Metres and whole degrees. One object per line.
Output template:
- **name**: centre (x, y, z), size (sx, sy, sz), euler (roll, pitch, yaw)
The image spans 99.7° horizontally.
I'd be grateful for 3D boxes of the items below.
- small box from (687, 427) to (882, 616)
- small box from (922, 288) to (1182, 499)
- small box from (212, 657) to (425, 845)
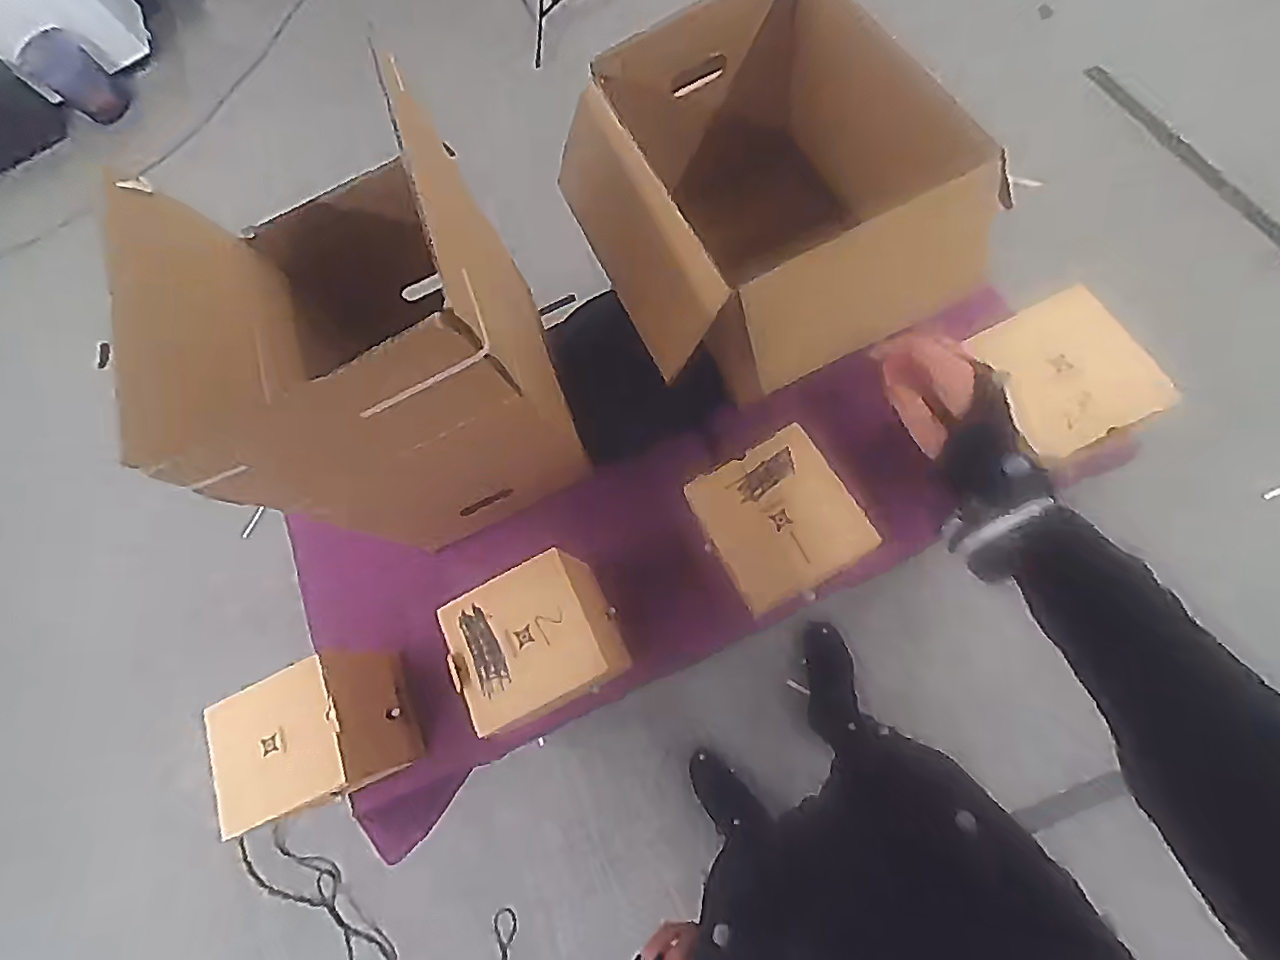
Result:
- **small box**: centre (0.179, 0.066, 0.712), size (0.168, 0.176, 0.179), euler (-30, 71, 2)
- **small box**: centre (0.499, -0.099, 0.694), size (0.168, 0.176, 0.179), euler (-26, 70, 4)
- **small box**: centre (-0.436, 0.361, 0.751), size (0.179, 0.176, 0.168), euler (-27, 70, 1)
